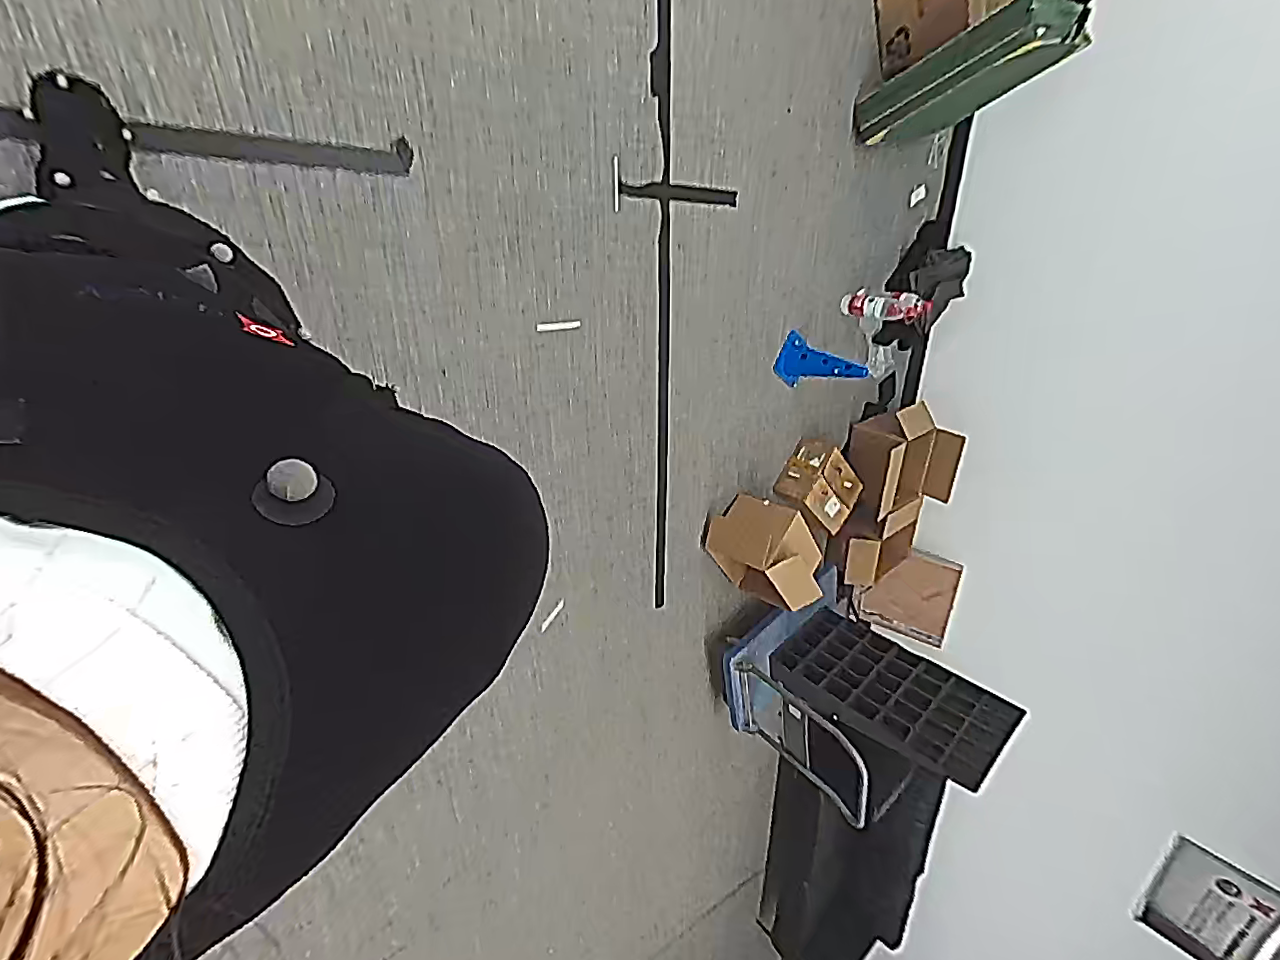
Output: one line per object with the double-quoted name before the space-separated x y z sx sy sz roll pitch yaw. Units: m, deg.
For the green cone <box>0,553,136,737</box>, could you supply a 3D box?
"green cone" -1.058 0.312 0.942 0.202 0.368 0.200 -33 126 -27
